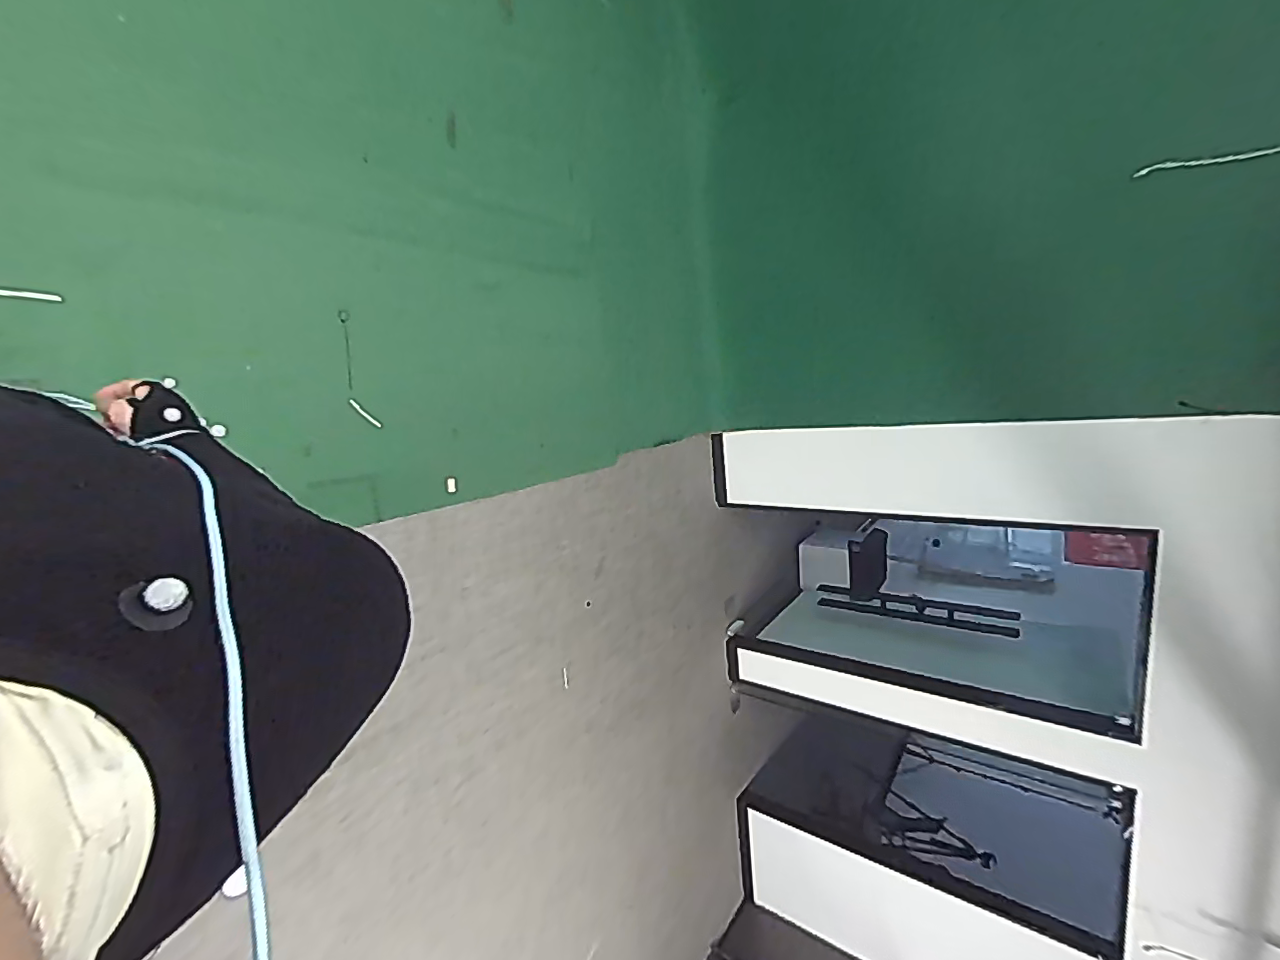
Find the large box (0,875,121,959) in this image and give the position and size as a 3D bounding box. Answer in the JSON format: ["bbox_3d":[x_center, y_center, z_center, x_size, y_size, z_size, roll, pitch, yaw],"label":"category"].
[{"bbox_3d":[-1.230,1.072,0.998,0.408,0.320,0.320,-20,108,-51],"label":"large box"}]
